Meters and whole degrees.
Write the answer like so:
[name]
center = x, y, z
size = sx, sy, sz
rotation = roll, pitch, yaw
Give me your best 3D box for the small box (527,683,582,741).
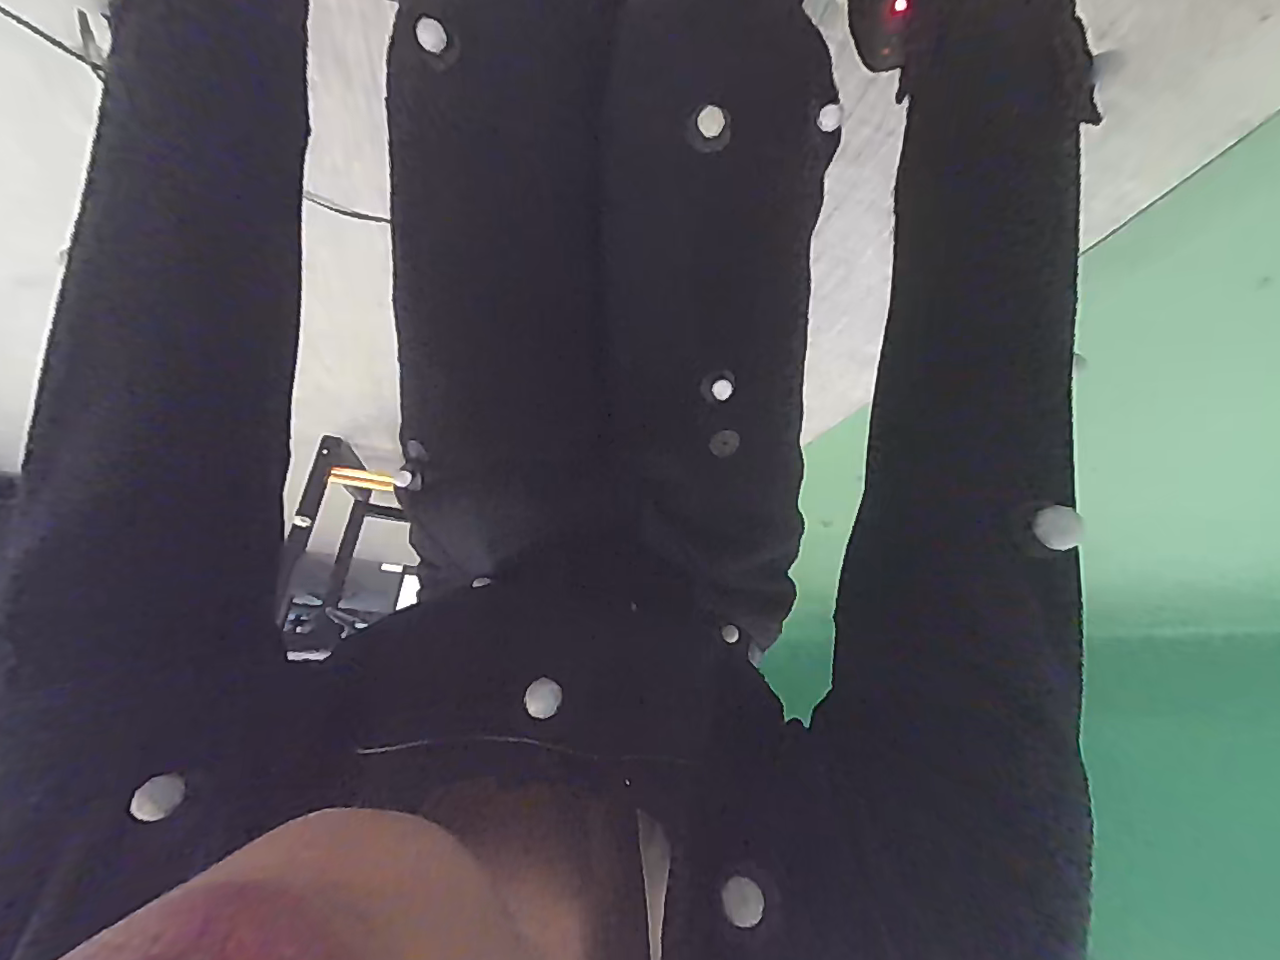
[small box]
center = -0.308, 0.828, 1.941
size = 0.168, 0.176, 0.179
rotation = 10, 159, -10
